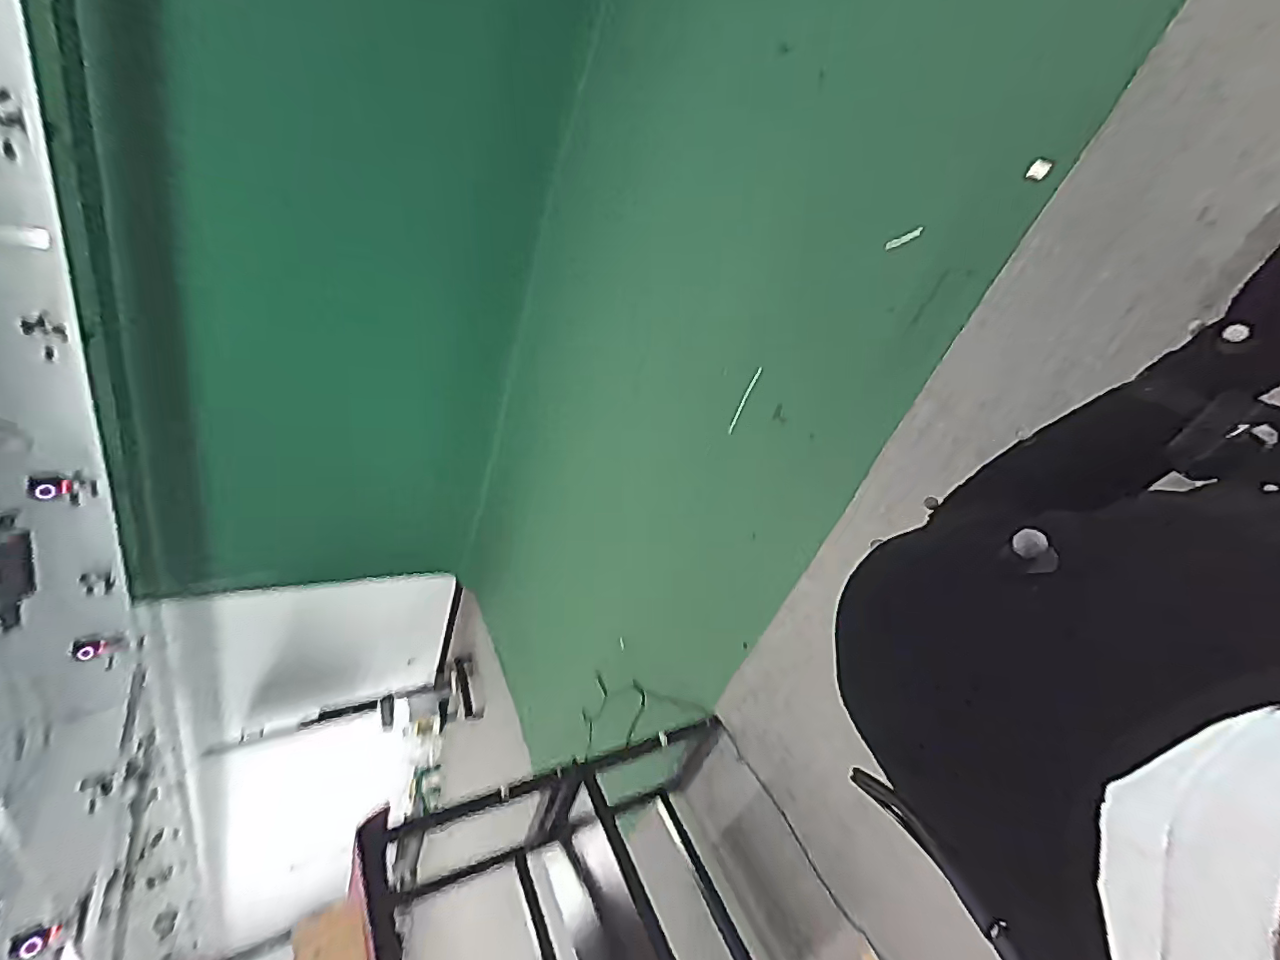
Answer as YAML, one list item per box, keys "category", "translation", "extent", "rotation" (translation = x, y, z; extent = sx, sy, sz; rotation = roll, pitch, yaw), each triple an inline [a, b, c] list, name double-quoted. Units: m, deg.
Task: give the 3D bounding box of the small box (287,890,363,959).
- category: "small box"
  translation: [-0.877, 1.301, 1.506]
  extent: [0.179, 0.176, 0.168]
  rotation: [52, 132, 41]
